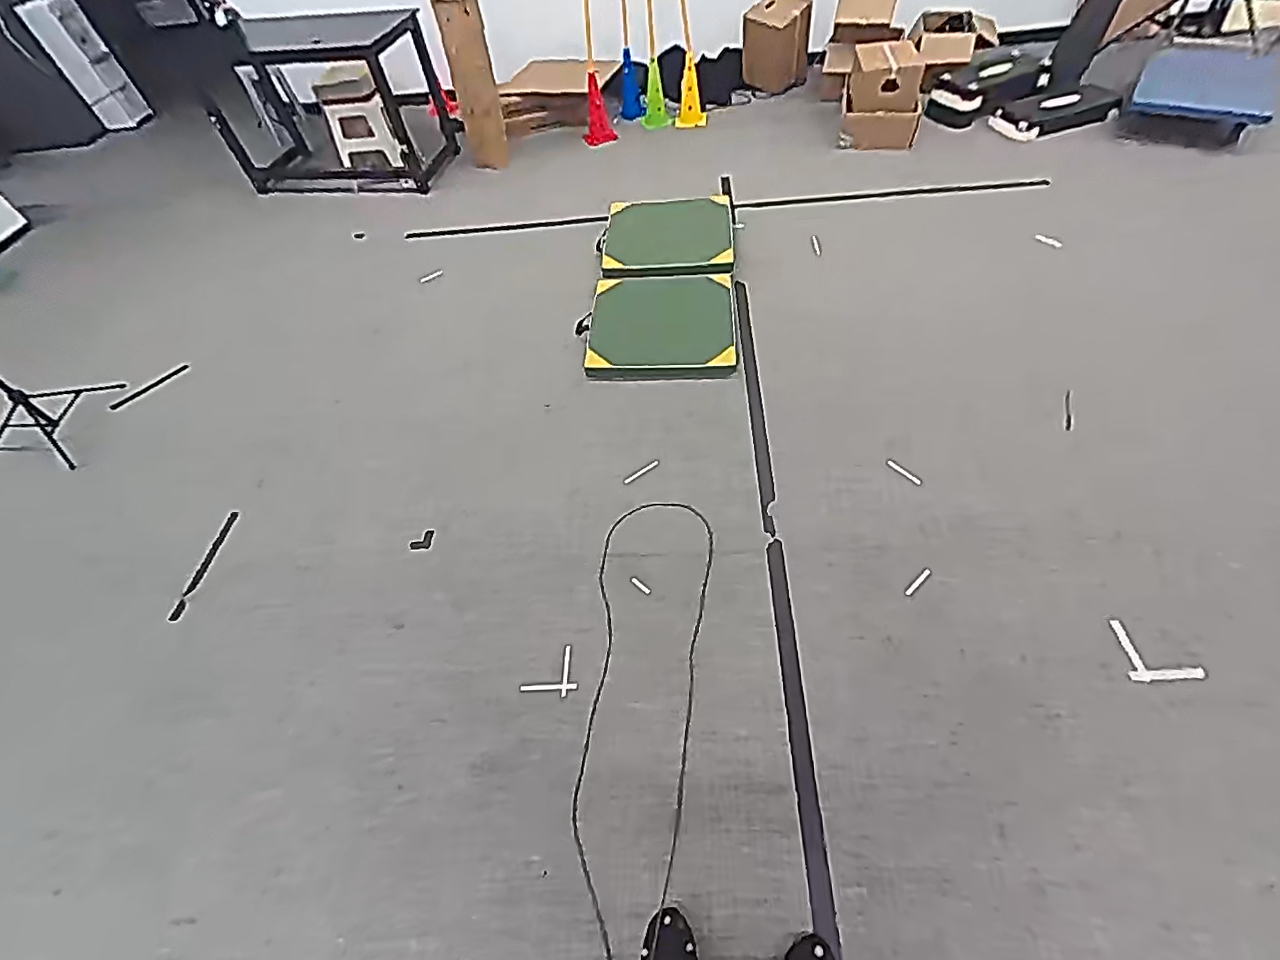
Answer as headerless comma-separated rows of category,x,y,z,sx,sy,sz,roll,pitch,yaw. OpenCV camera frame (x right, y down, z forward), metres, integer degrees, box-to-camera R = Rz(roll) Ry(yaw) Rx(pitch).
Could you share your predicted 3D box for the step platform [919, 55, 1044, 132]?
step platform,2.031,-2.304,3.214,0.684,0.204,0.286,-26,55,-12
